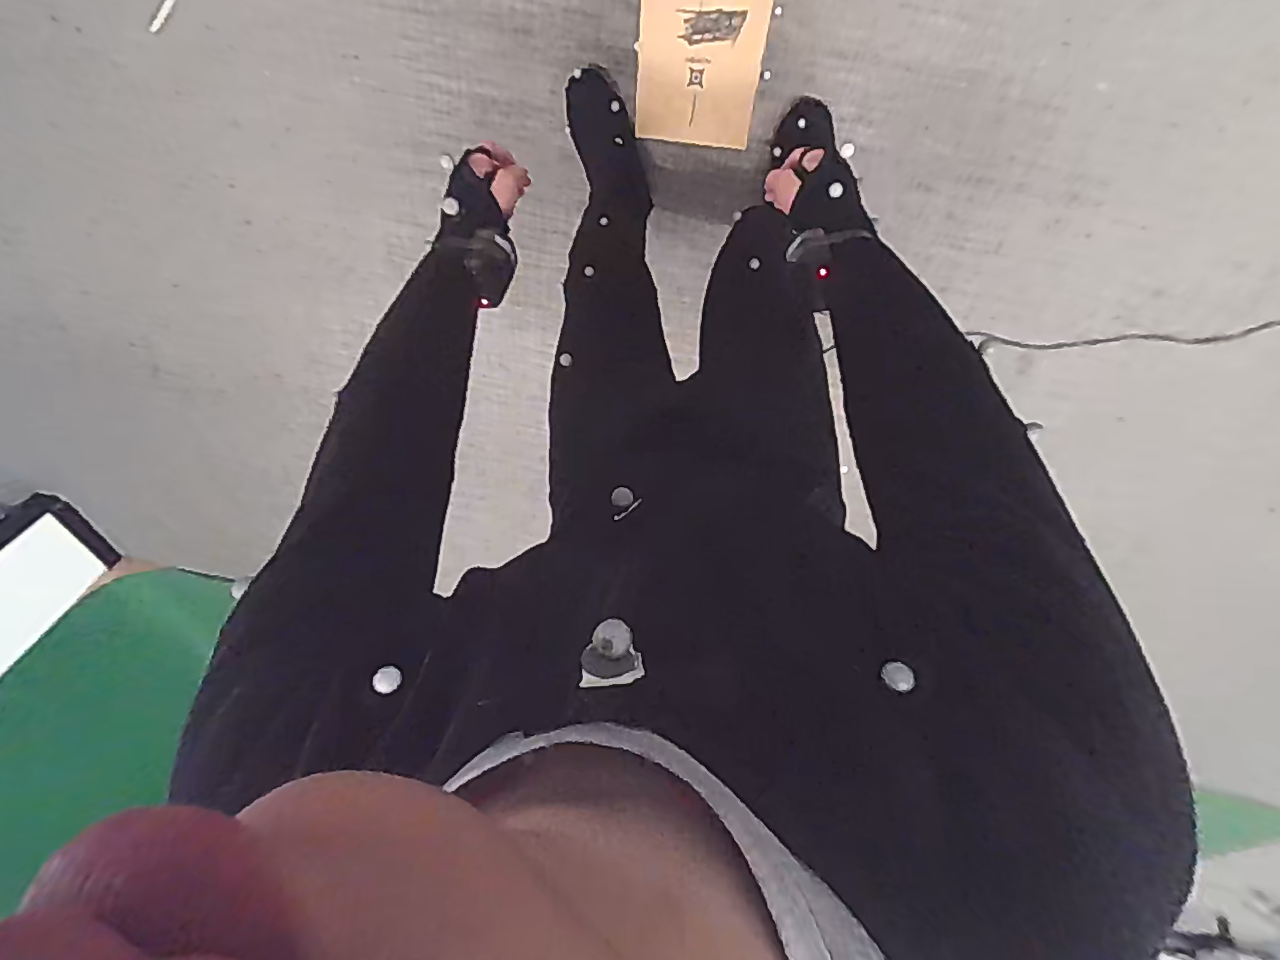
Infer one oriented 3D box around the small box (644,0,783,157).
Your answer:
[{"bbox_3d":[0.106,-0.598,0.786,0.168,0.176,0.179,10,136,6],"label":"small box"}]
